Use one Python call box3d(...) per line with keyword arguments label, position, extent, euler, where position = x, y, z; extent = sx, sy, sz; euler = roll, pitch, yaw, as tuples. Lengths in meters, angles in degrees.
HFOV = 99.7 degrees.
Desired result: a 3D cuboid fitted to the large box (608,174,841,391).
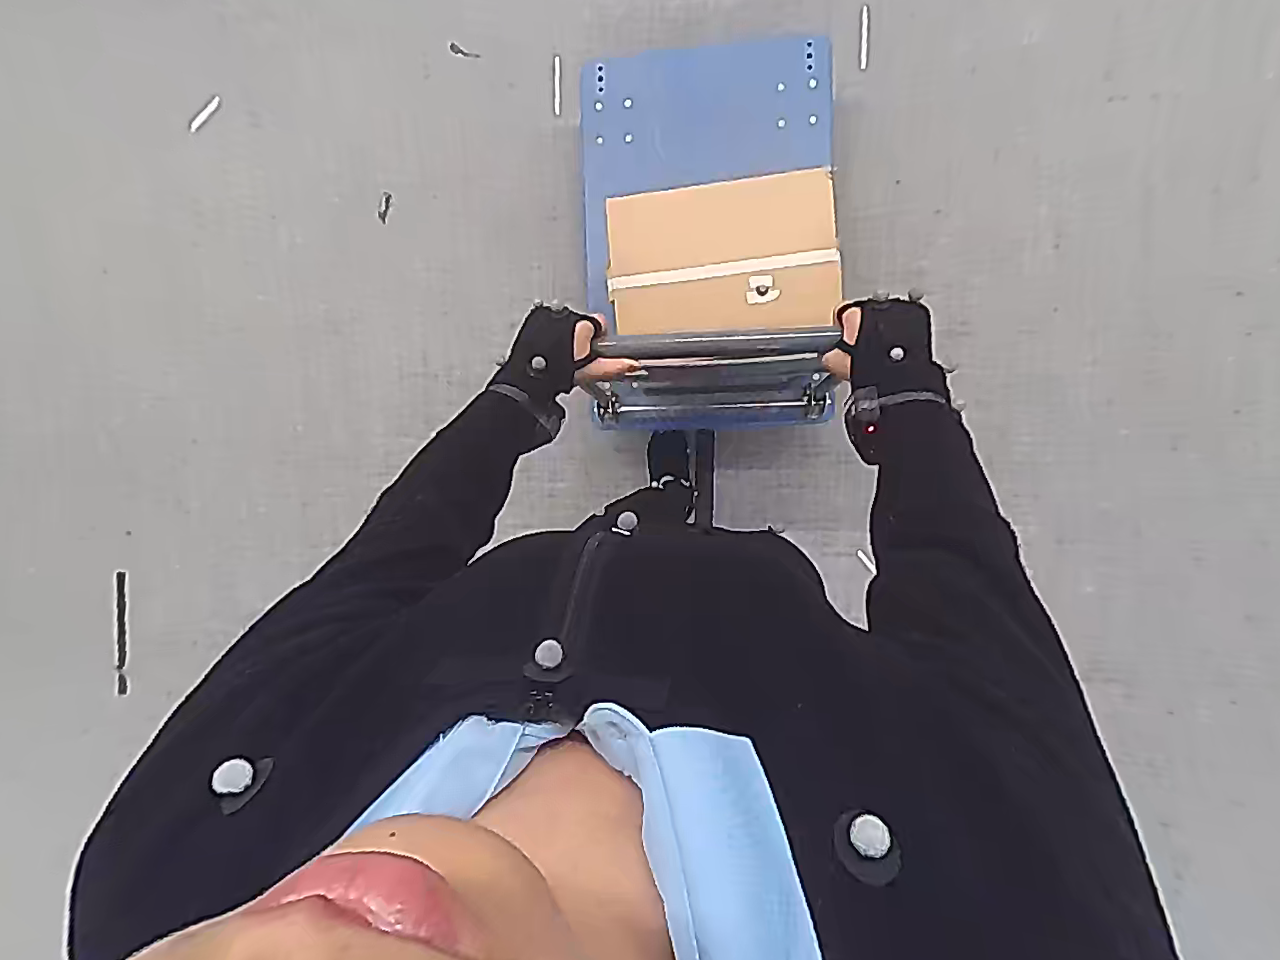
box3d(label="large box", position=(0.164, -0.379, 1.133), extent=(0.408, 0.320, 0.320), euler=(-5, 92, 6))
